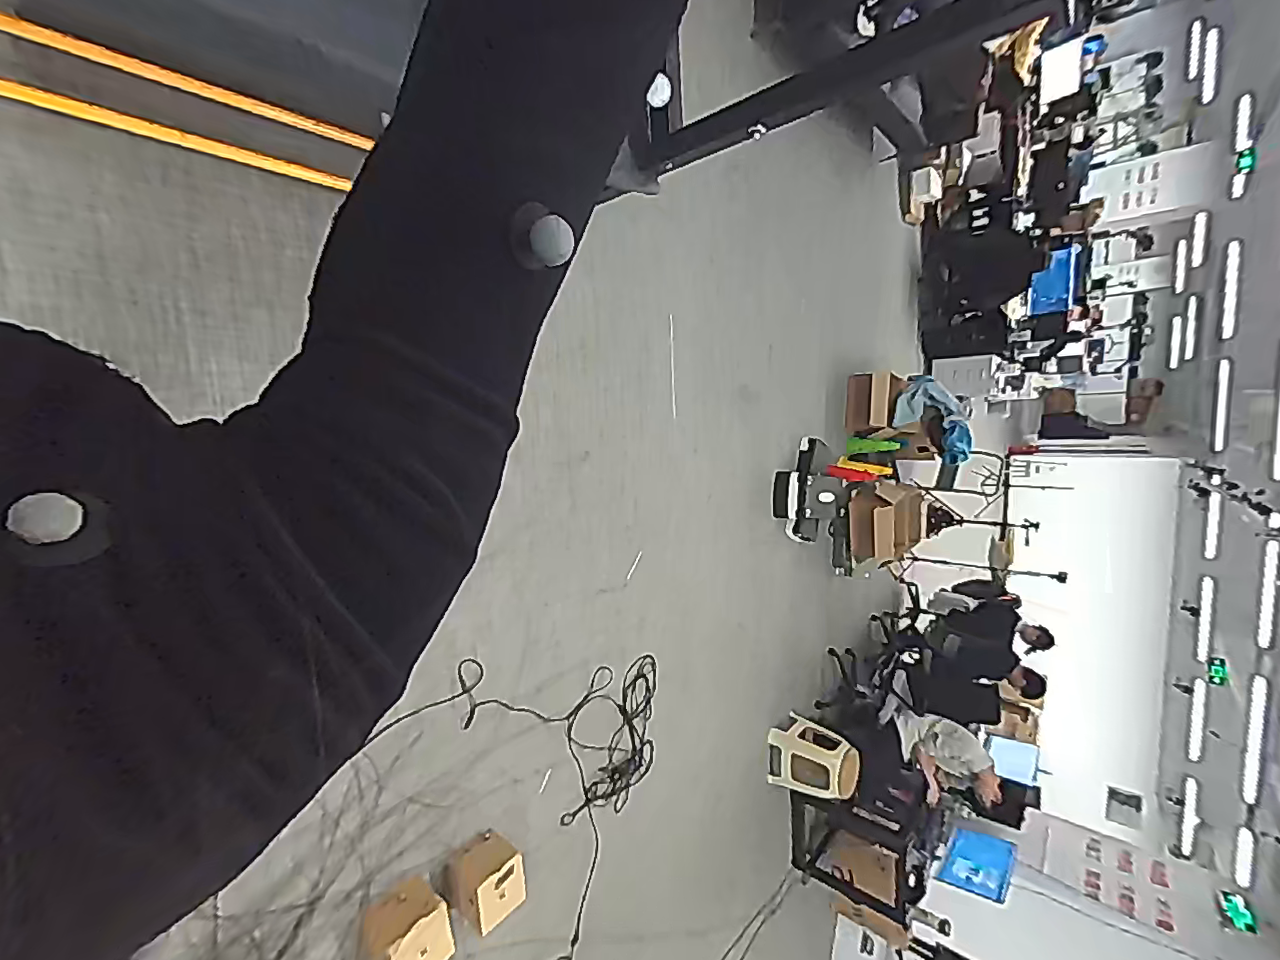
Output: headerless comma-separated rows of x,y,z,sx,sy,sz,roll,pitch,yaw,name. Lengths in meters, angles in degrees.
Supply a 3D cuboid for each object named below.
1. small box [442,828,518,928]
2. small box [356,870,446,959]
-0.517,1.262,1.737,0.168,0.176,0.179,-14,104,-49,small box
-0.681,1.274,1.542,0.168,0.176,0.179,-18,106,-49,small box
